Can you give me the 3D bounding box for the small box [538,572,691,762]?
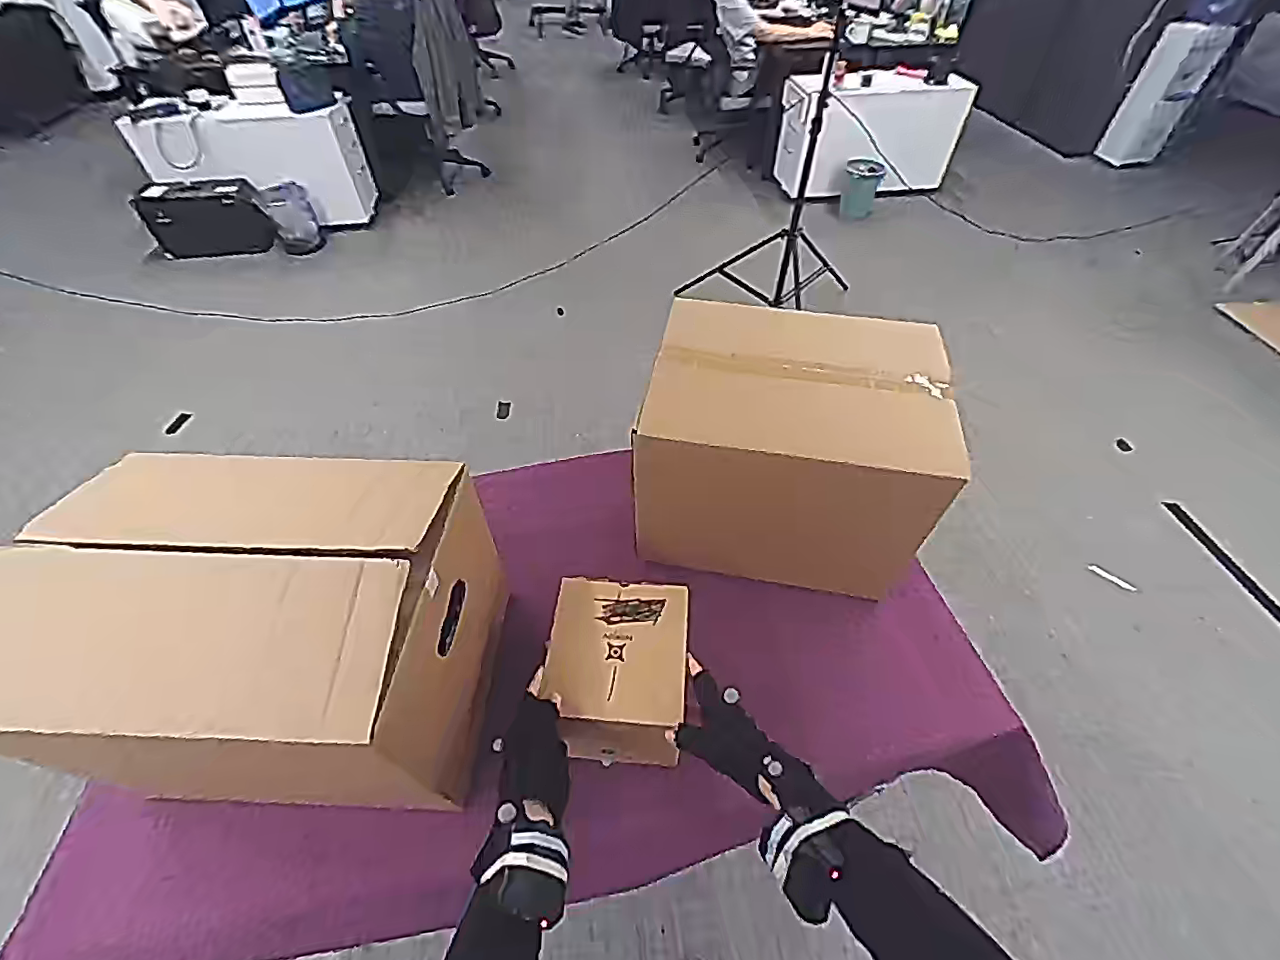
[{"bbox_3d":[-0.025,0.242,0.699,0.168,0.176,0.179,4,50,3],"label":"small box"}]
